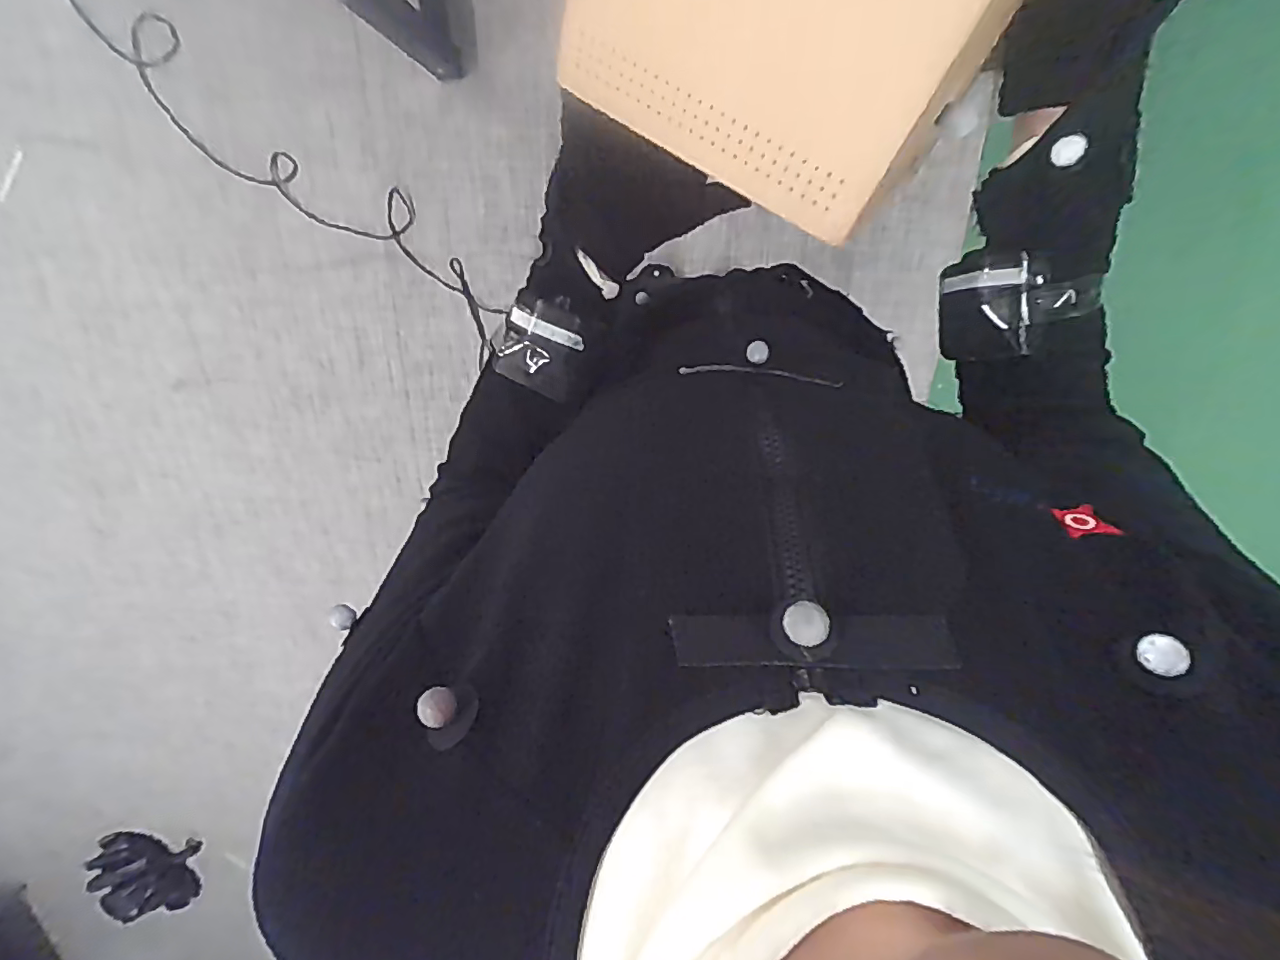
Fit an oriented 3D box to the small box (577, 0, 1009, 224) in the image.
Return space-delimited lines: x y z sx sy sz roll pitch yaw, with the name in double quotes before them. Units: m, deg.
"small box" 0.089 -0.264 0.271 0.179 0.168 0.176 36 143 8
